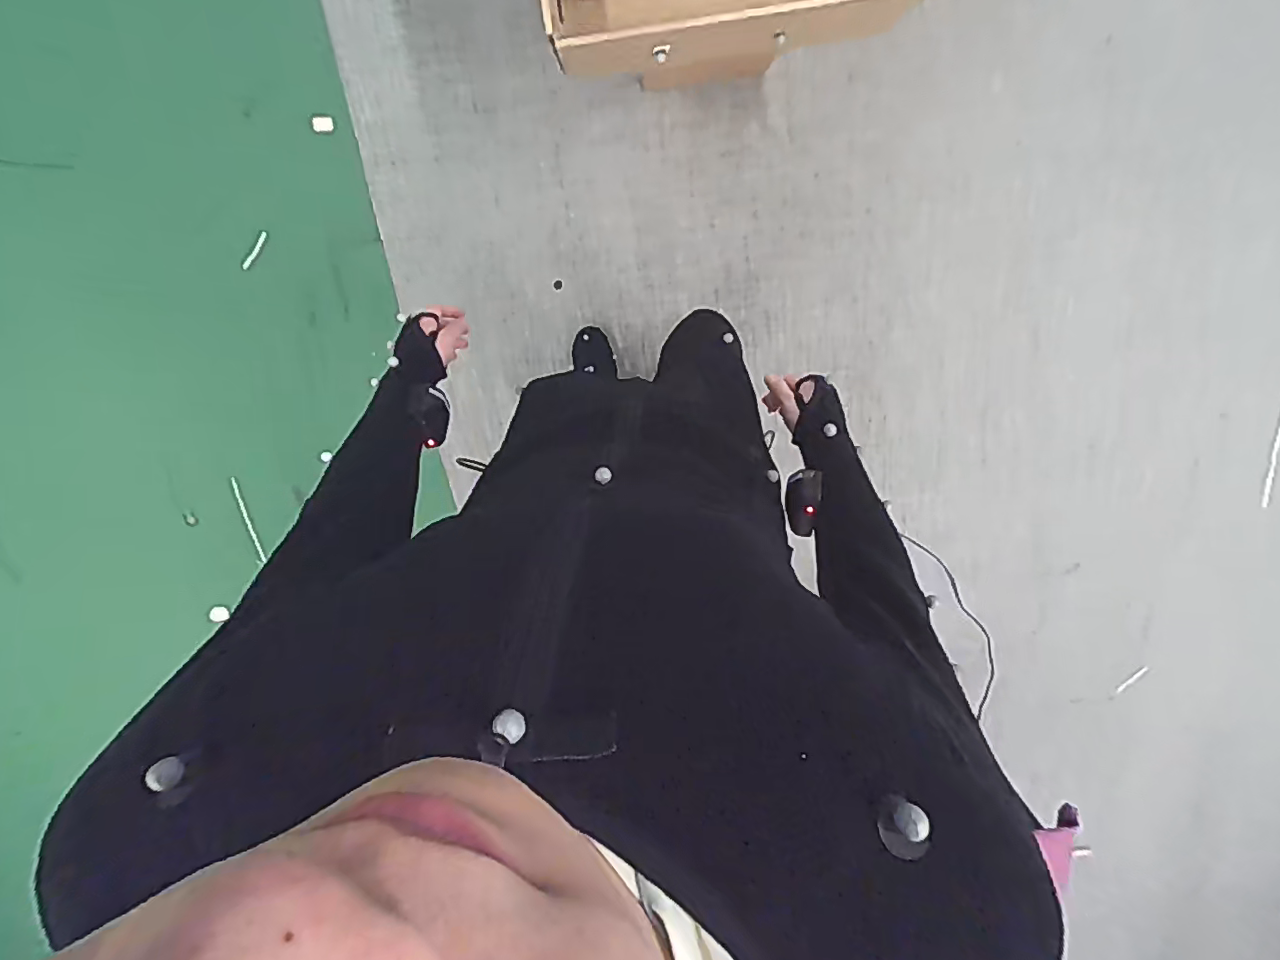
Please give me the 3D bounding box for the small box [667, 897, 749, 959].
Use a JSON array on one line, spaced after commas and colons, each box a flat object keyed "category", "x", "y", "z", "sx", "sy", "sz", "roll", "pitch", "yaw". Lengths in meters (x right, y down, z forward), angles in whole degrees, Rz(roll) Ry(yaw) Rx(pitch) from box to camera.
[{"category": "small box", "x": 0.155, "y": 1.060, "z": 1.180, "sx": 0.168, "sy": 0.176, "sz": 0.179, "roll": -10, "pitch": 109, "yaw": 2}]
